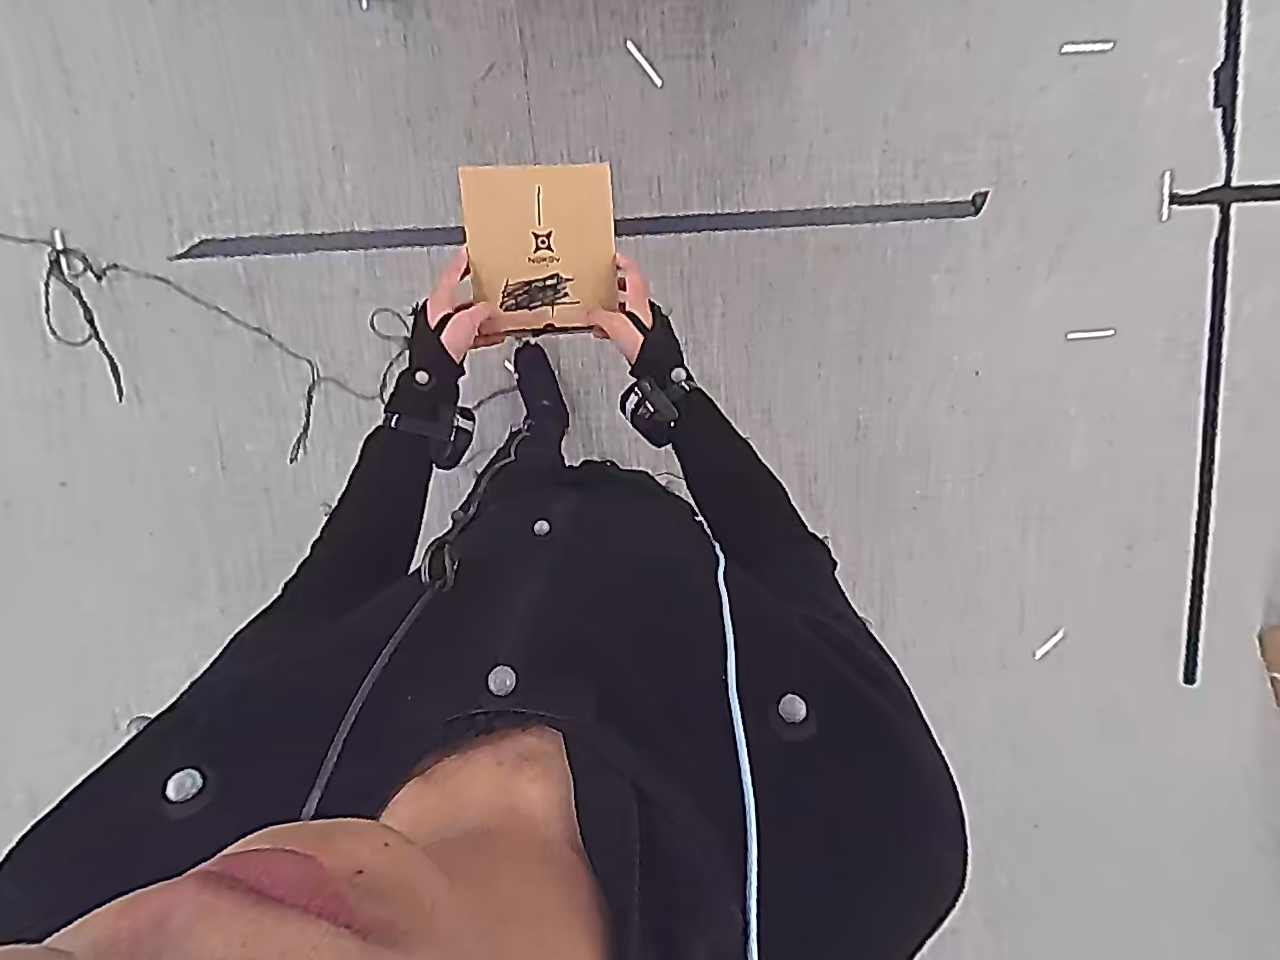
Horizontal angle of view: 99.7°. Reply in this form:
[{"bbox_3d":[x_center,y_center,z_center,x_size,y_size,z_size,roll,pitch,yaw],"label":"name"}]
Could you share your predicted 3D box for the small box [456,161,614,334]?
[{"bbox_3d":[-0.121,-0.277,0.678,0.168,0.176,0.179,-4,103,-6],"label":"small box"}]
